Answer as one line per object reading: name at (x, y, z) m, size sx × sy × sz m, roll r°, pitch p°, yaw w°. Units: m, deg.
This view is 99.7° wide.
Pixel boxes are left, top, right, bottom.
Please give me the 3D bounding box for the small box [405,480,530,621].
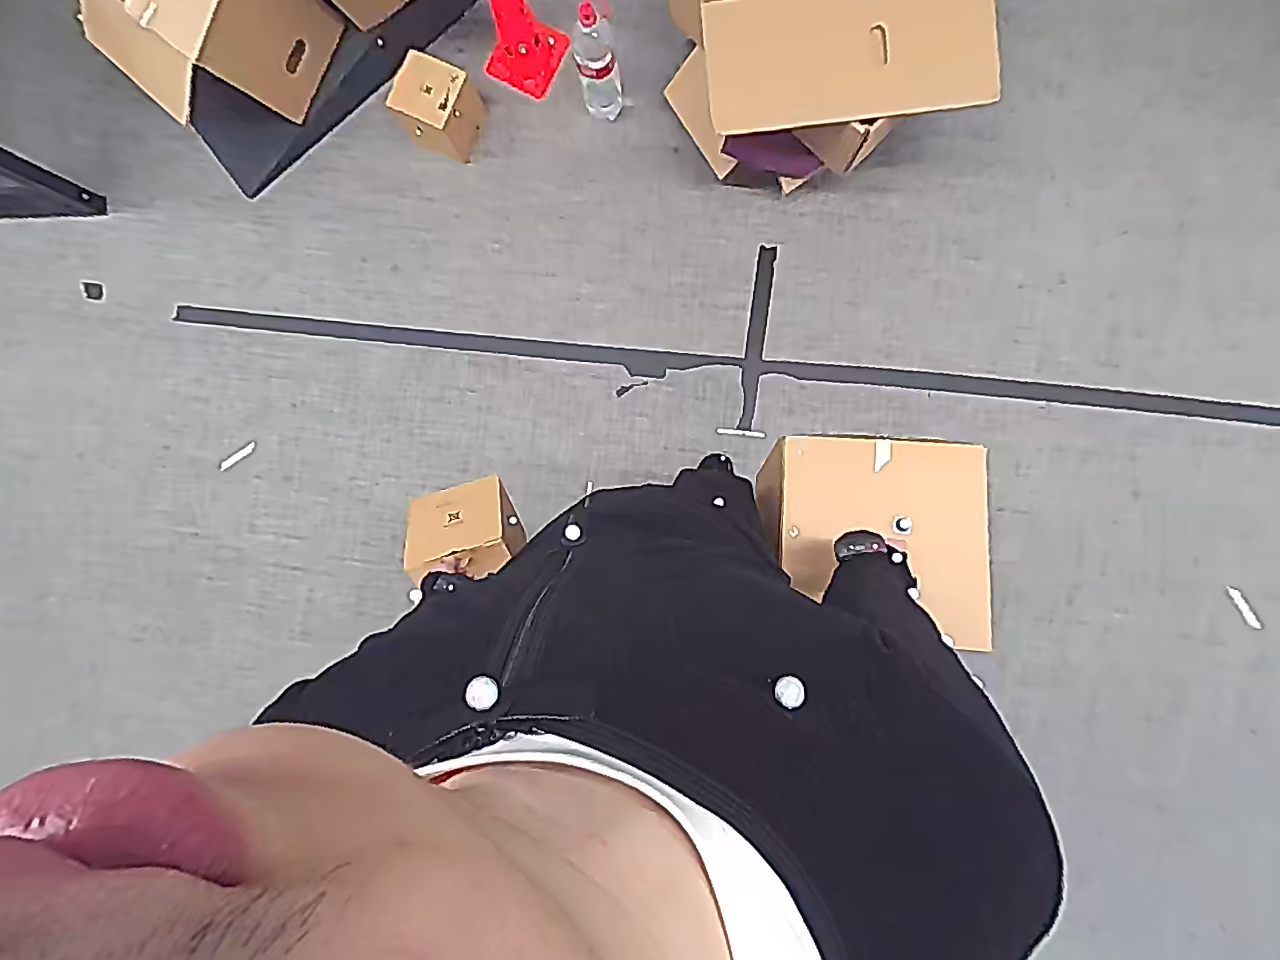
small box at (-0.306, 0.135, 0.987) m, size 0.168 × 0.179 × 0.176 m, roll -16°, pitch 130°, yaw -4°
